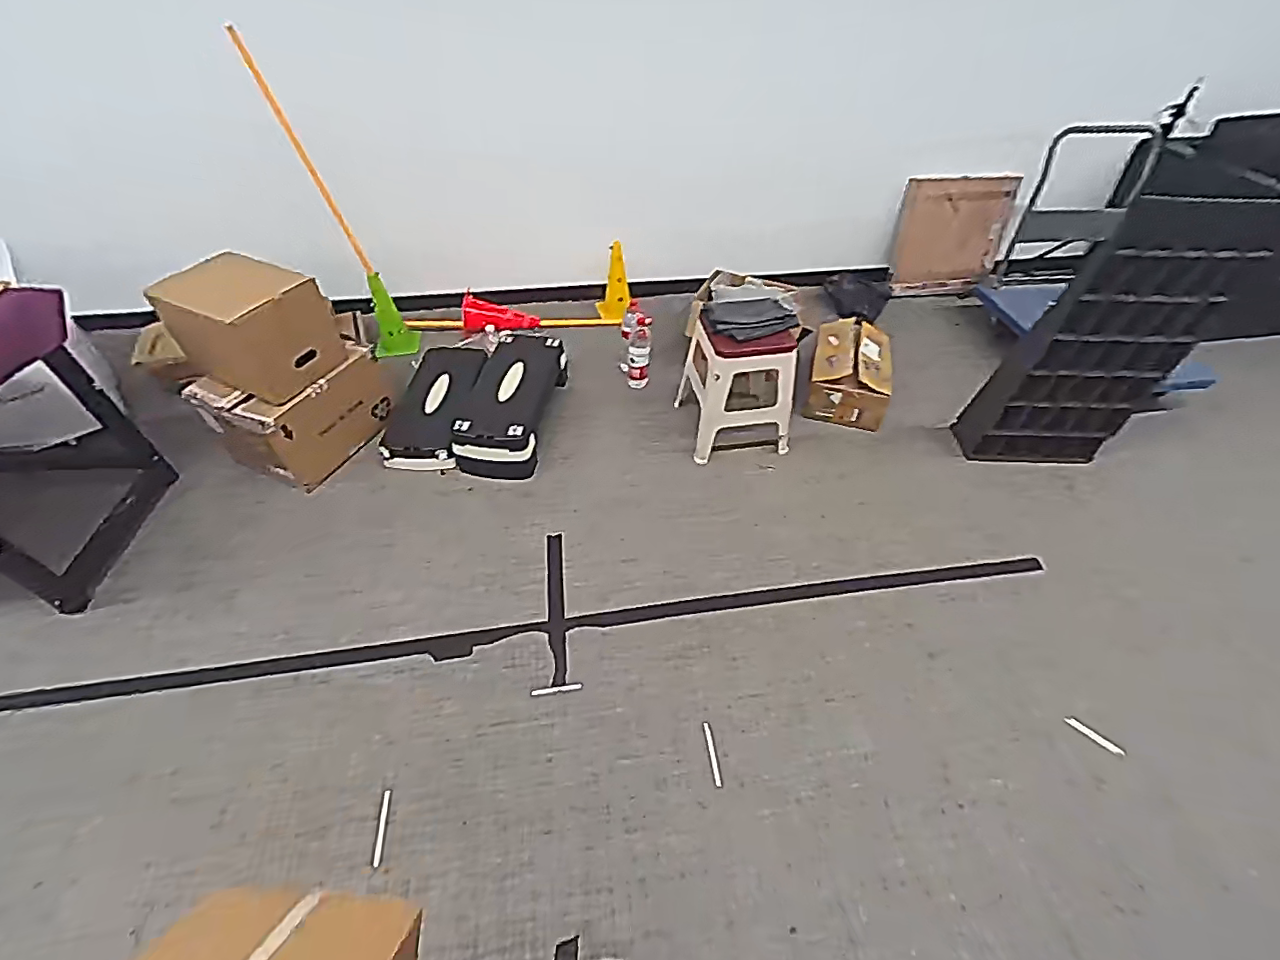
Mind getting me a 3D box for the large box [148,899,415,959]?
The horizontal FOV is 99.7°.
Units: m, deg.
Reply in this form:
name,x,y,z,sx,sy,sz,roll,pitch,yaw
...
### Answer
name,x,y,z,sx,sy,sz,roll,pitch,yaw
large box,-0.493,0.768,0.596,0.320,0.408,0.320,3,85,1
